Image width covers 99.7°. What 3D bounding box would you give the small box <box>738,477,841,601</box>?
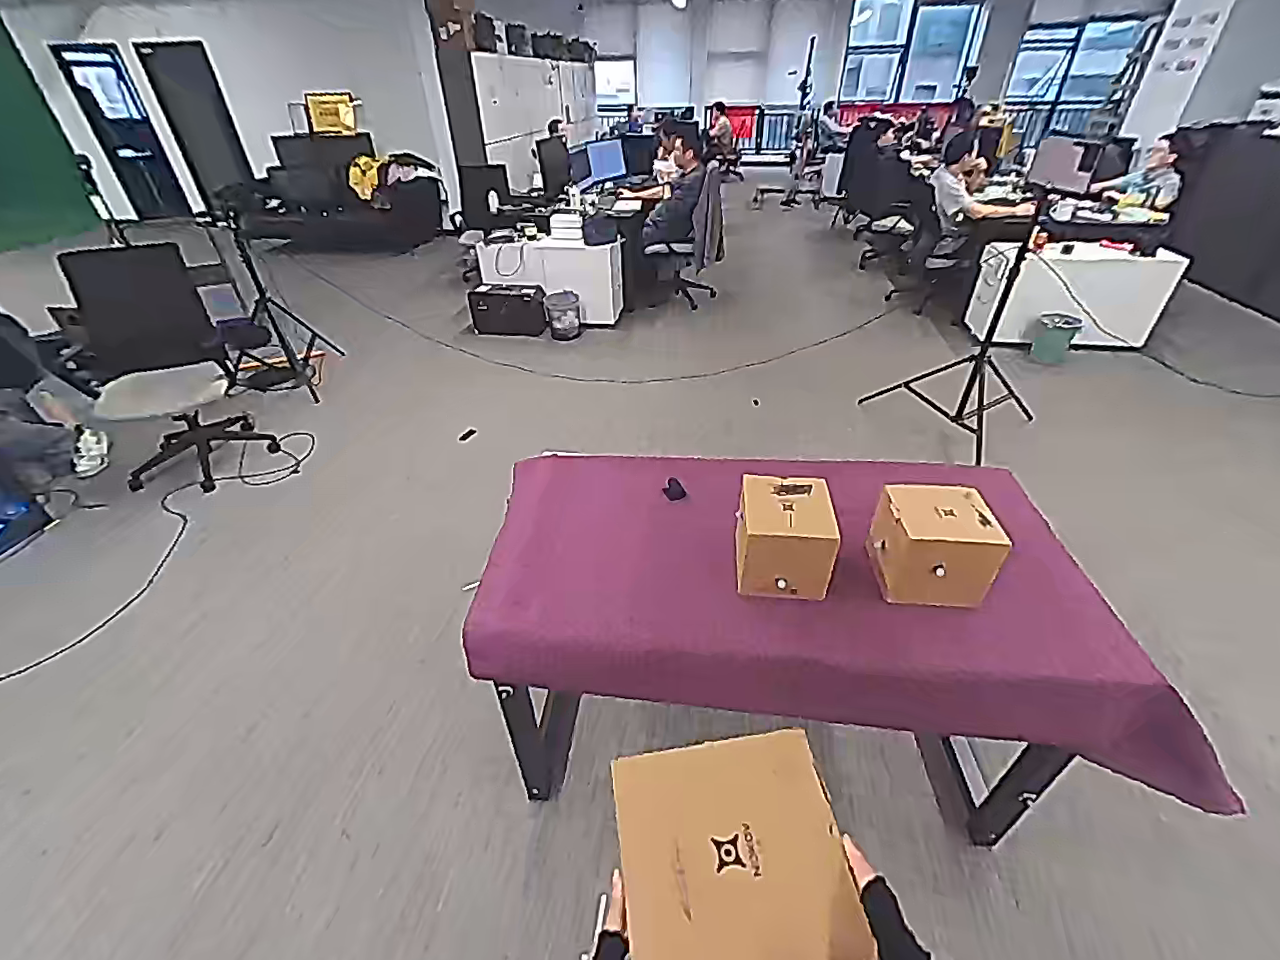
[{"bbox_3d":[0.285,0.115,1.075,0.168,0.176,0.179,2,37,6],"label":"small box"}]

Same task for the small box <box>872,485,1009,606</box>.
[{"bbox_3d":[0.565,0.127,1.049,0.179,0.176,0.168,1,36,6],"label":"small box"}]

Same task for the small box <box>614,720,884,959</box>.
[{"bbox_3d":[0.078,0.339,0.476,0.179,0.176,0.168,-9,43,-3],"label":"small box"}]
